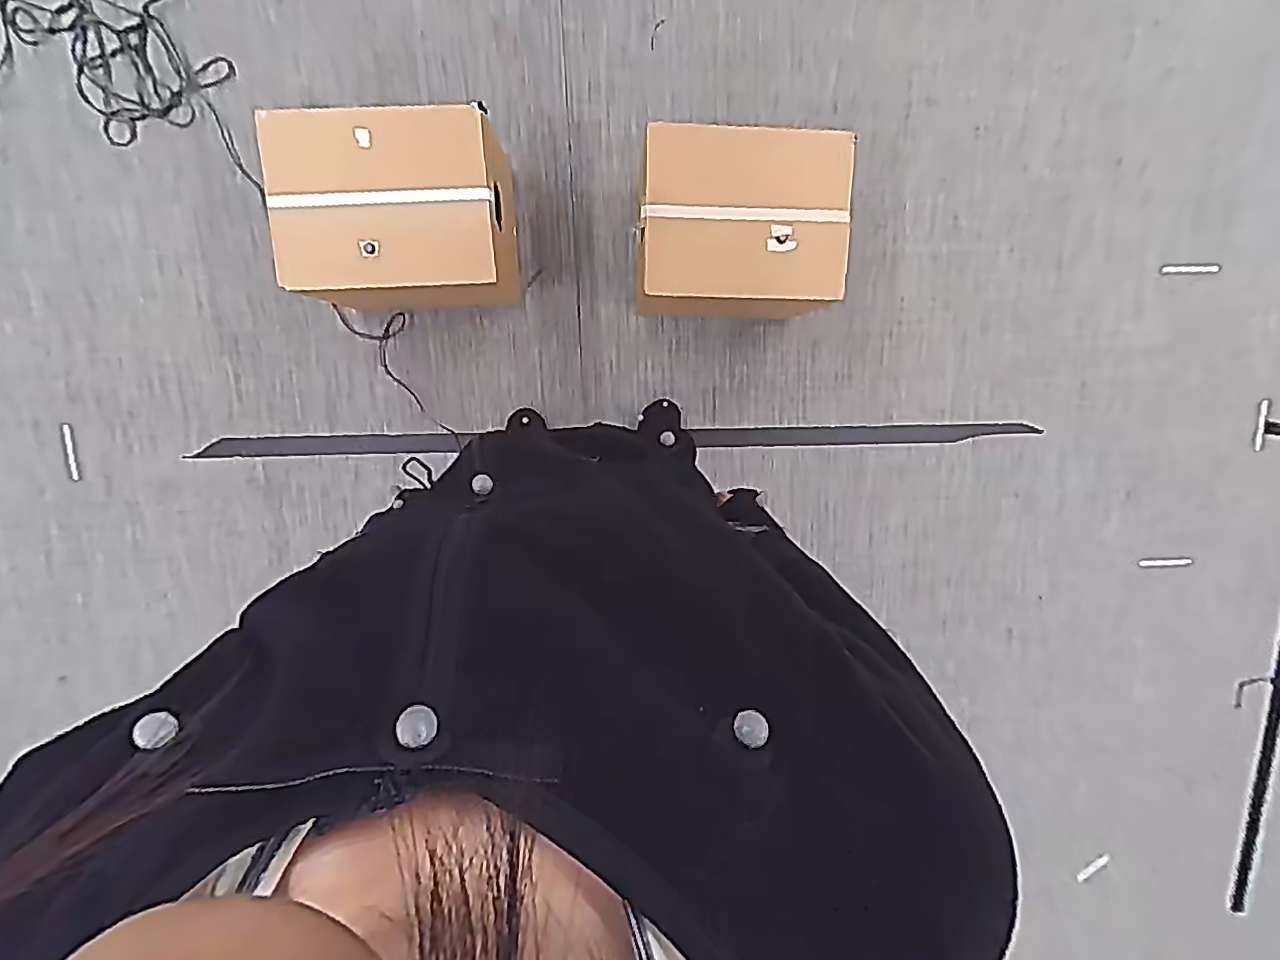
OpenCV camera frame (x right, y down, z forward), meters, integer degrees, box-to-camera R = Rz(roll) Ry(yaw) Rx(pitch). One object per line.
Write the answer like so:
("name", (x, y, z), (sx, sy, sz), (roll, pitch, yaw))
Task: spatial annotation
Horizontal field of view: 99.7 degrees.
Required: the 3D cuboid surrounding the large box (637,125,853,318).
("large box", (0.203, -0.543, 1.204), (0.408, 0.320, 0.320), (0, 100, -4))
